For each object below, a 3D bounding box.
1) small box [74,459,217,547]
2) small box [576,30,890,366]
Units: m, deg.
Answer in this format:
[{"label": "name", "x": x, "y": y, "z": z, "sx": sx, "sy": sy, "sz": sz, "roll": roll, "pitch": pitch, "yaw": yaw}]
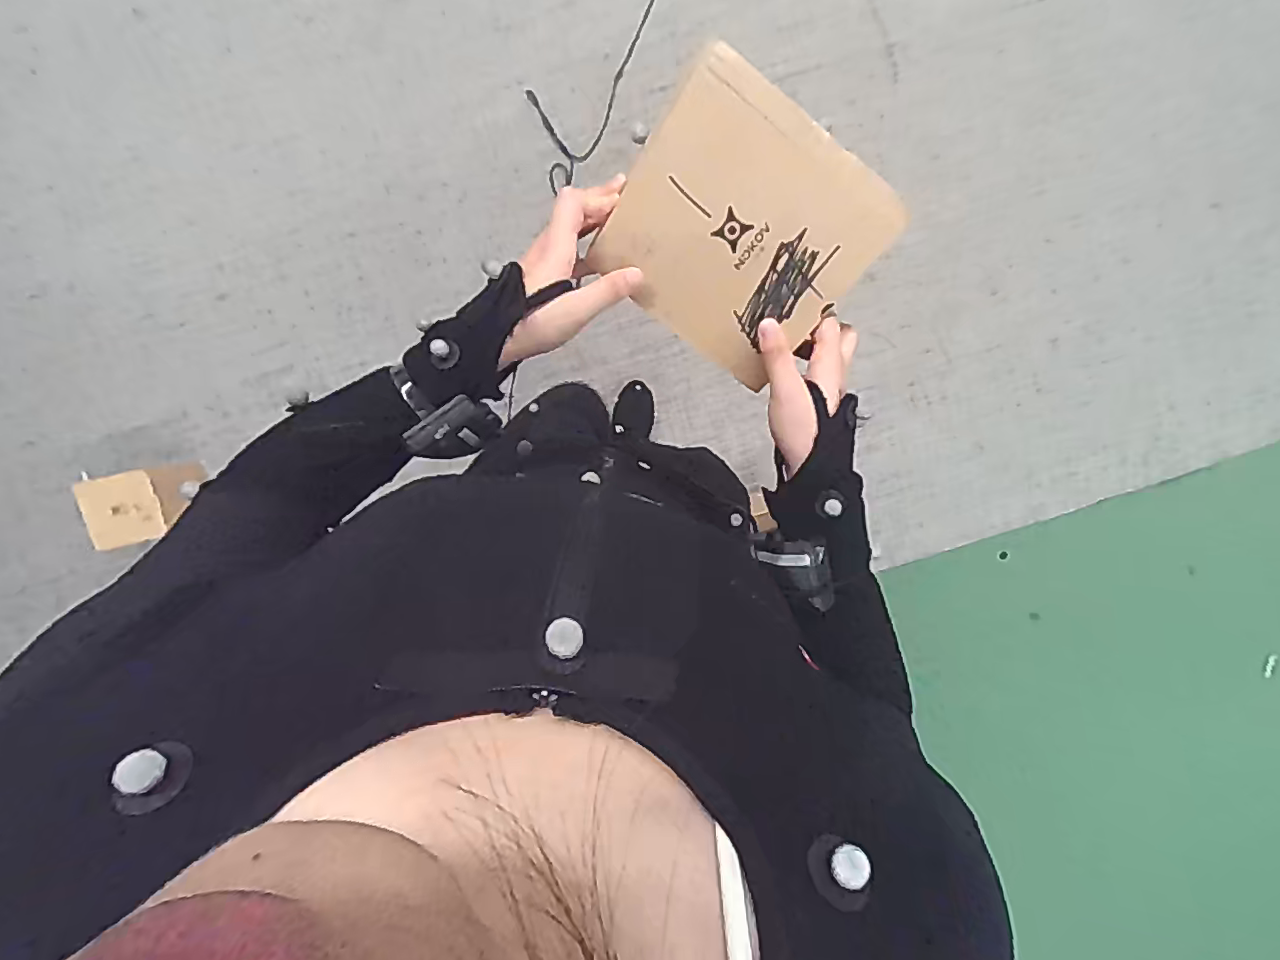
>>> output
[{"label": "small box", "x": -1.209, "y": 0.051, "z": 1.336, "sx": 0.179, "sy": 0.176, "sz": 0.168, "roll": -12, "pitch": 99, "yaw": -1}, {"label": "small box", "x": 0.068, "y": -0.236, "z": 0.465, "sx": 0.179, "sy": 0.176, "sz": 0.168, "roll": 29, "pitch": 120, "yaw": -17}]
